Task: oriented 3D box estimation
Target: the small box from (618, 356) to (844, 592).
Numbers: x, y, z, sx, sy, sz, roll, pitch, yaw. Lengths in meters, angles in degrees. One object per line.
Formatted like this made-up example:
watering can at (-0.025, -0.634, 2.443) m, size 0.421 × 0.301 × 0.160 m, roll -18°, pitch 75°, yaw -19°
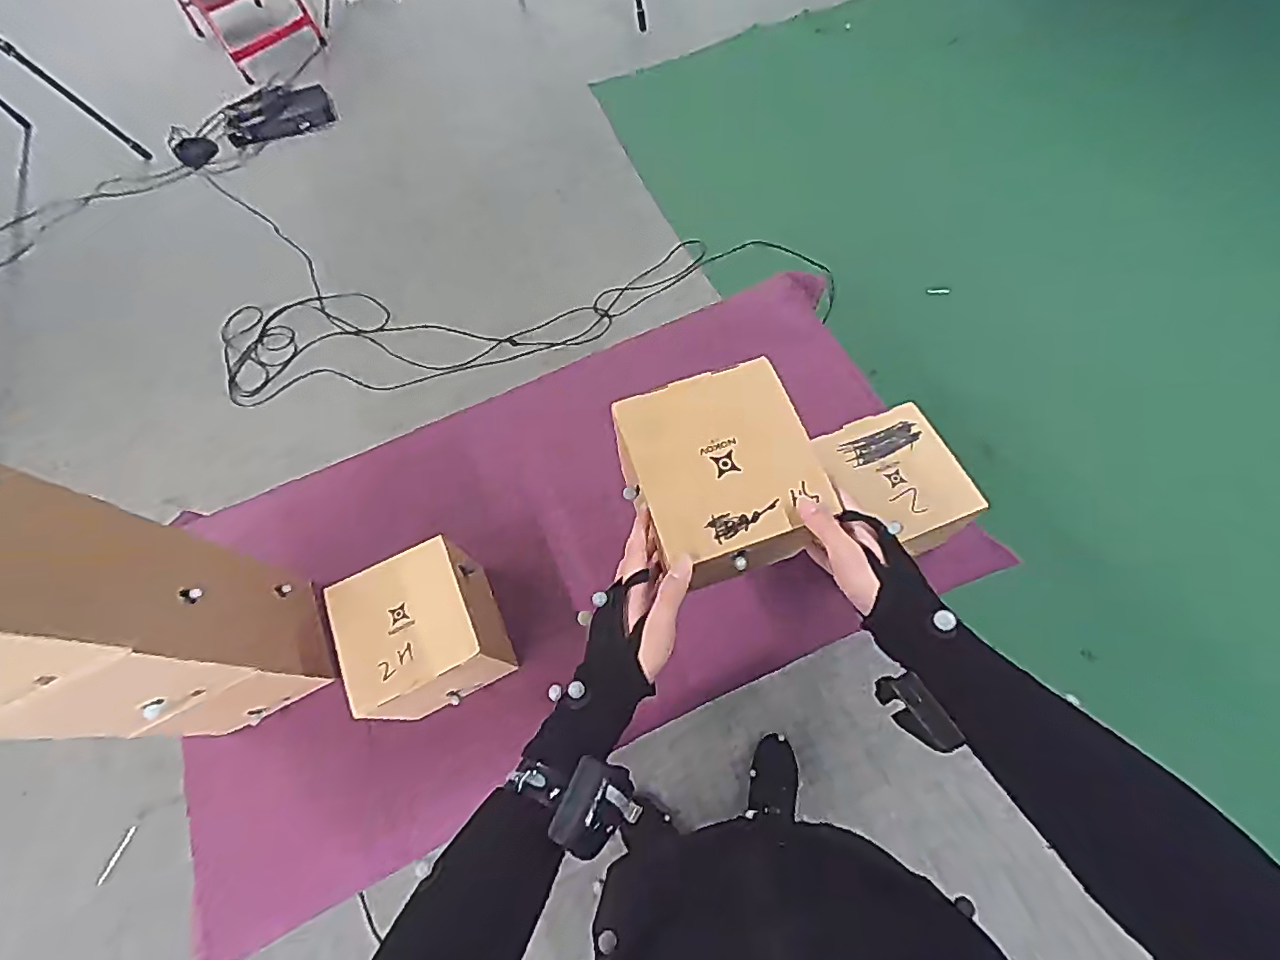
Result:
small box at (0.081, 0.004, 0.576) m, size 0.168 × 0.176 × 0.179 m, roll -18°, pitch 71°, yaw -5°

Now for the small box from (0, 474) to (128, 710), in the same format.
small box at (-0.601, 0.100, 0.469) m, size 0.168 × 0.176 × 0.179 m, roll -28°, pitch 66°, yaw -7°

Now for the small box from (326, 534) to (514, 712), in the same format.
small box at (-0.297, 0.207, 0.754) m, size 0.168 × 0.176 × 0.179 m, roll -25°, pitch 67°, yaw -6°

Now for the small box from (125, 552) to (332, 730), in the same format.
small box at (-0.576, 0.233, 0.766) m, size 0.168 × 0.176 × 0.179 m, roll -27°, pitch 67°, yaw -7°

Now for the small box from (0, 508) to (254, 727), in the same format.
small box at (-0.588, 0.165, 0.618) m, size 0.168 × 0.176 × 0.179 m, roll -27°, pitch 67°, yaw -7°
